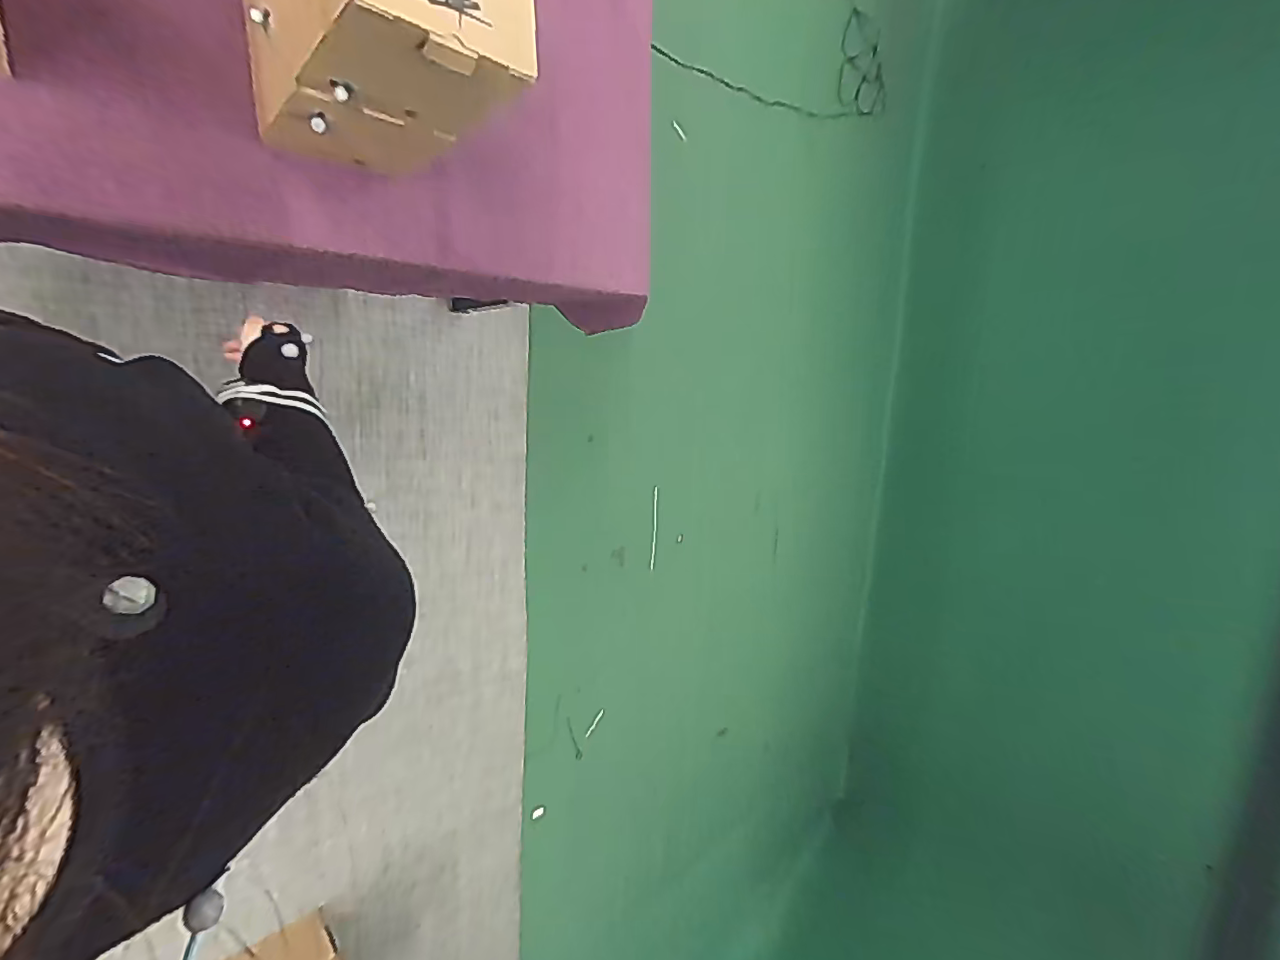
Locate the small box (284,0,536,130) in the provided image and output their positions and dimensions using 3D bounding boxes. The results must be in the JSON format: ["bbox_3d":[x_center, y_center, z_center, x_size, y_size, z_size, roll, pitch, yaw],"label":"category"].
[{"bbox_3d":[-0.215,-0.460,0.498,0.168,0.176,0.179,-12,104,-44],"label":"small box"}]

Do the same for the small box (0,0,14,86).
[{"bbox_3d":[-0.576,-0.424,0.373,0.168,0.176,0.179,-10,104,-44],"label":"small box"}]
